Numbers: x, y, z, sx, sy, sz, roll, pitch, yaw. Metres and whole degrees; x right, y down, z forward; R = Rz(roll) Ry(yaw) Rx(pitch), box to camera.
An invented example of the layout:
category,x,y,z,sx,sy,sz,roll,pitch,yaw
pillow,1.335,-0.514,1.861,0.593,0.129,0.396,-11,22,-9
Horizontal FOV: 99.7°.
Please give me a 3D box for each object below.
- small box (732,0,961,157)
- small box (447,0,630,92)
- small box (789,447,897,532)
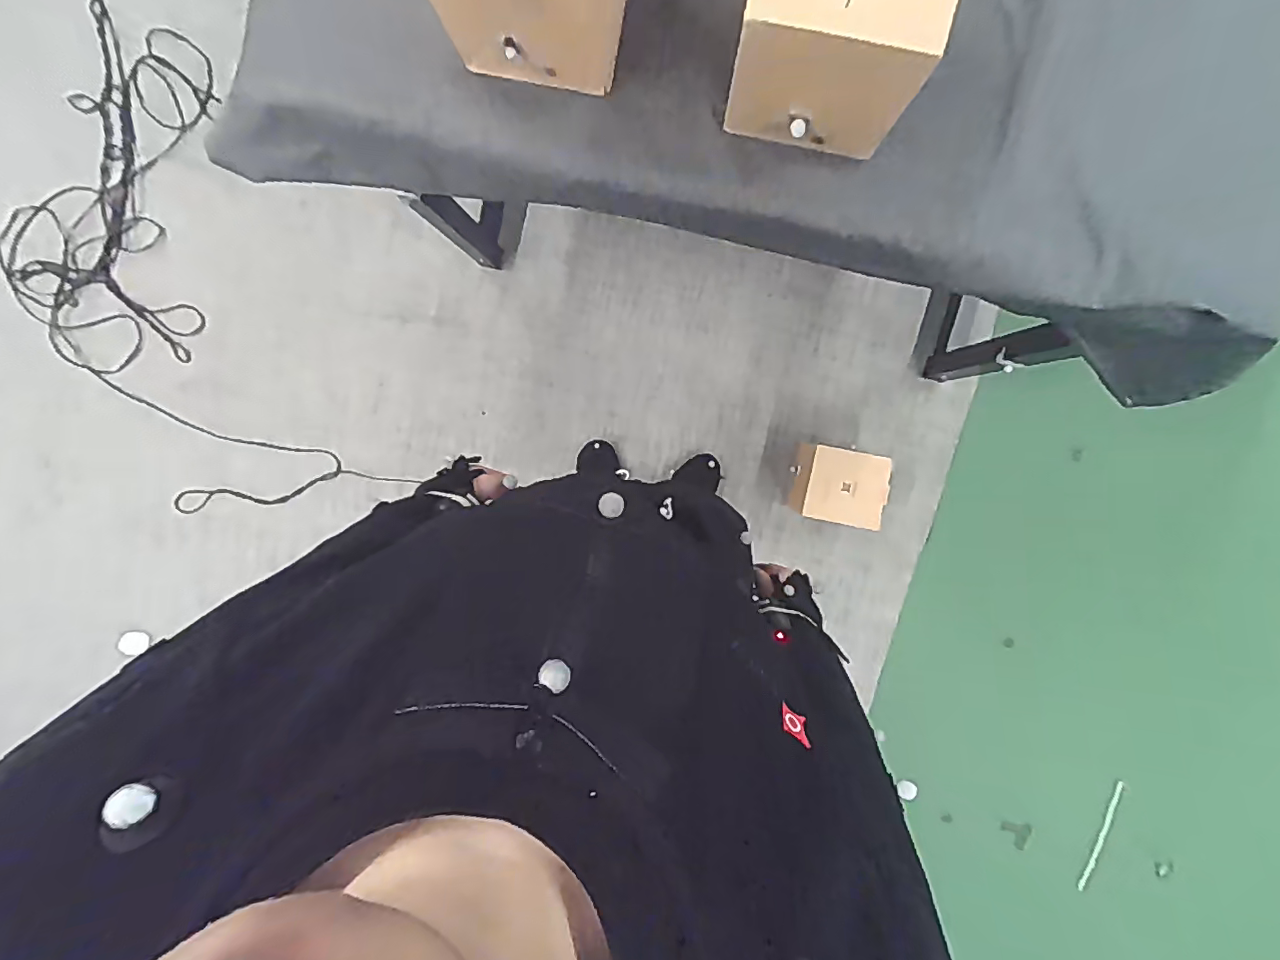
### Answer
category,x,y,z,sx,sy,sz,roll,pitch,yaw
small box,0.190,-0.447,0.508,0.168,0.176,0.179,13,95,2
small box,-0.098,-0.527,0.521,0.168,0.176,0.179,12,96,2
small box,0.466,0.015,1.266,0.179,0.176,0.168,10,94,3
